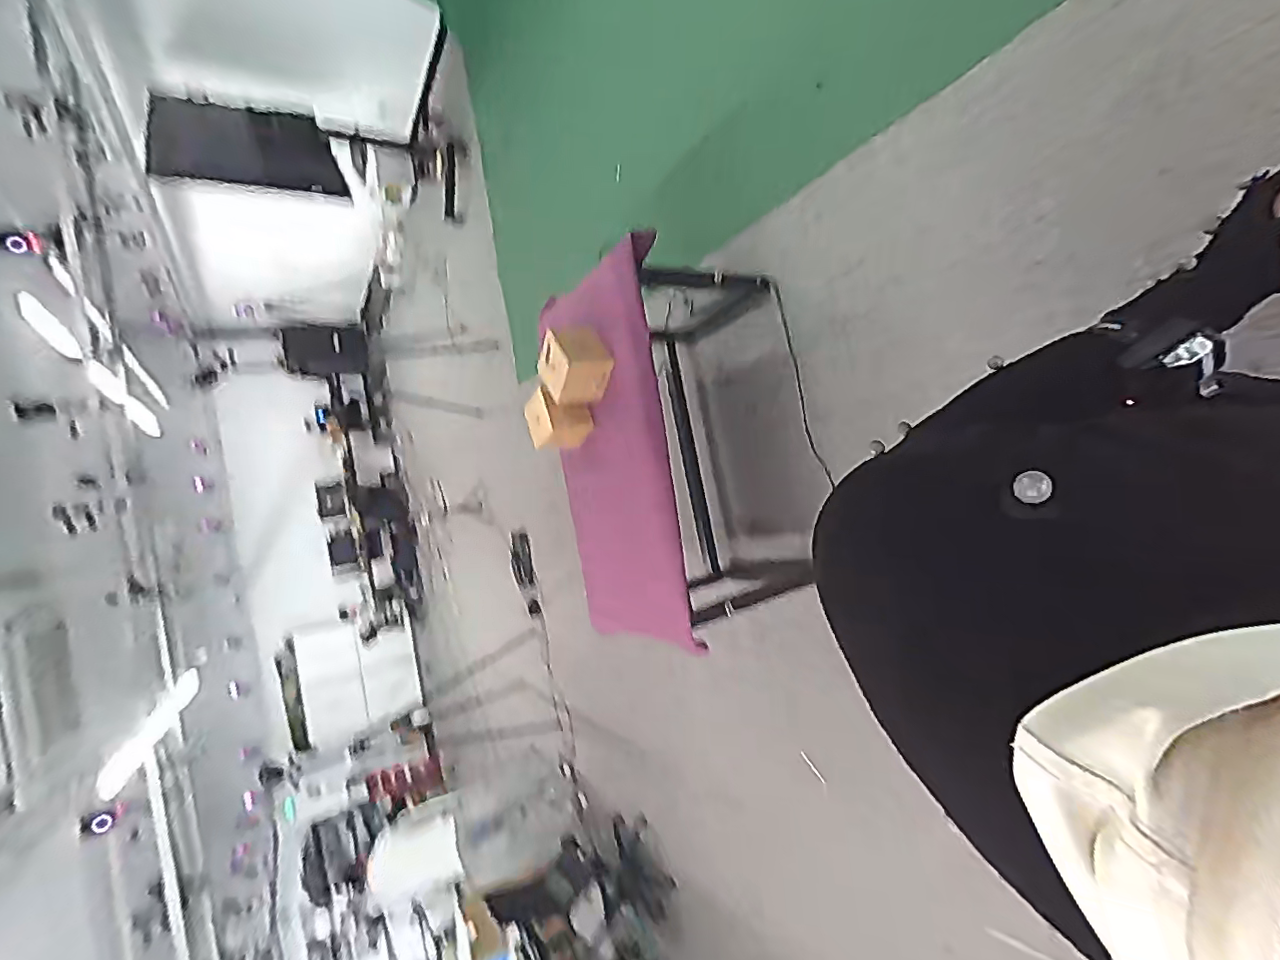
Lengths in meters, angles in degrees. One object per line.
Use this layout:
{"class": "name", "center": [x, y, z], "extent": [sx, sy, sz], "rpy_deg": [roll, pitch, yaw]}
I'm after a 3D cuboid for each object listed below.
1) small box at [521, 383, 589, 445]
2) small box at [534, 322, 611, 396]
{"class": "small box", "center": [-0.298, -0.241, 1.922], "extent": [0.179, 0.176, 0.168], "rpy_deg": [-38, 68, 53]}
{"class": "small box", "center": [-0.221, -0.393, 1.764], "extent": [0.179, 0.176, 0.168], "rpy_deg": [58, 141, 28]}
